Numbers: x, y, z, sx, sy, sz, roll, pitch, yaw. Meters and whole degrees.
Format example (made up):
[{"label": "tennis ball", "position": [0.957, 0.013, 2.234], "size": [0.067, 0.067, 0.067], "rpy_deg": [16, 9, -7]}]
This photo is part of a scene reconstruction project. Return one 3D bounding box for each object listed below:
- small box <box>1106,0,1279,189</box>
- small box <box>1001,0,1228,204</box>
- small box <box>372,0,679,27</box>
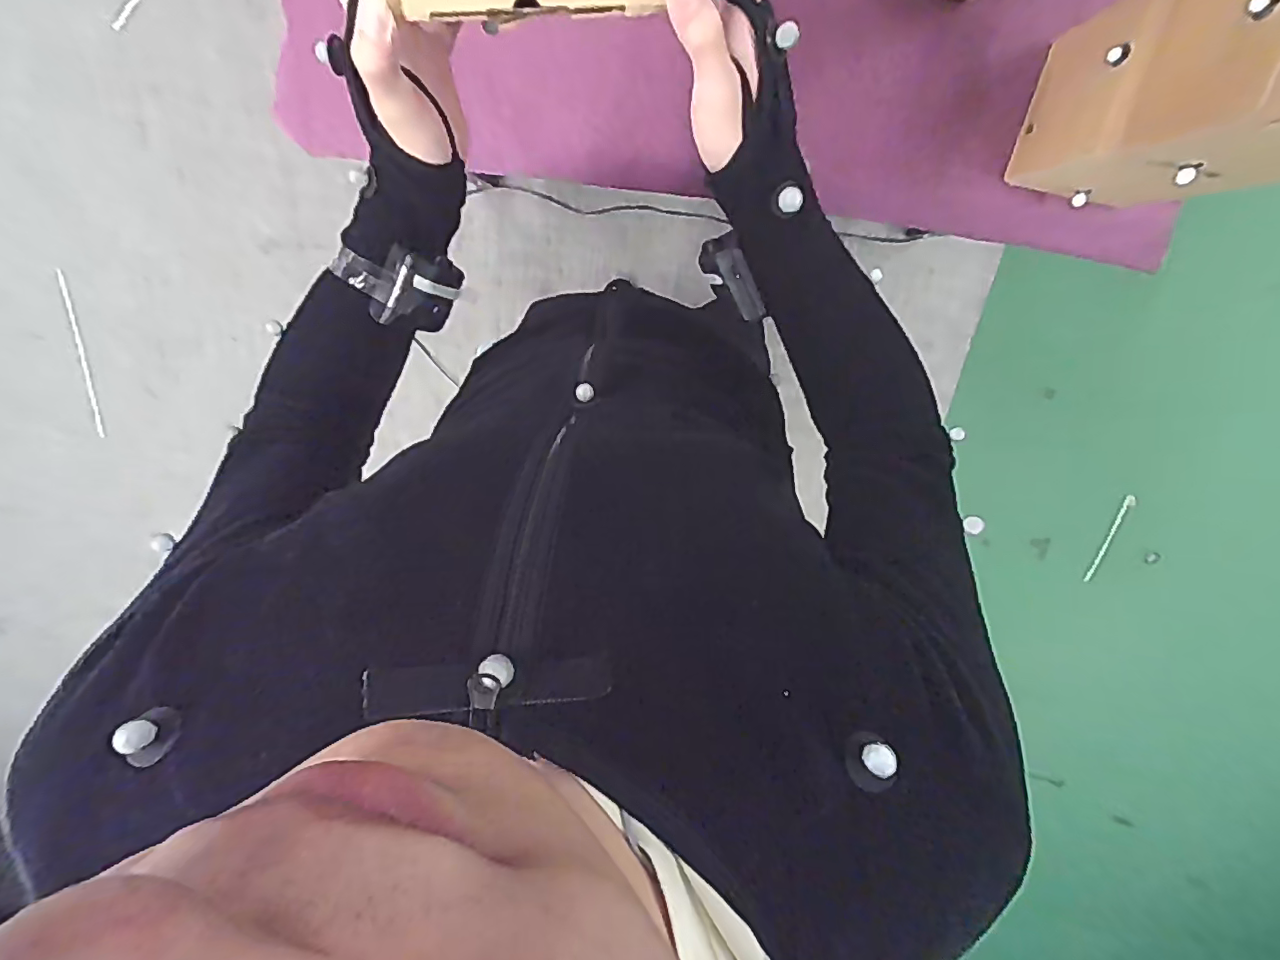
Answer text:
[{"label": "small box", "position": [0.590, -0.387, 0.490], "size": [0.168, 0.176, 0.179], "rpy_deg": [11, 110, -2]}, {"label": "small box", "position": [0.589, -0.440, 0.644], "size": [0.179, 0.176, 0.168], "rpy_deg": [10, 110, -3]}, {"label": "small box", "position": [-0.060, -0.361, 0.285], "size": [0.168, 0.176, 0.179], "rpy_deg": [-2, 132, 1]}]
